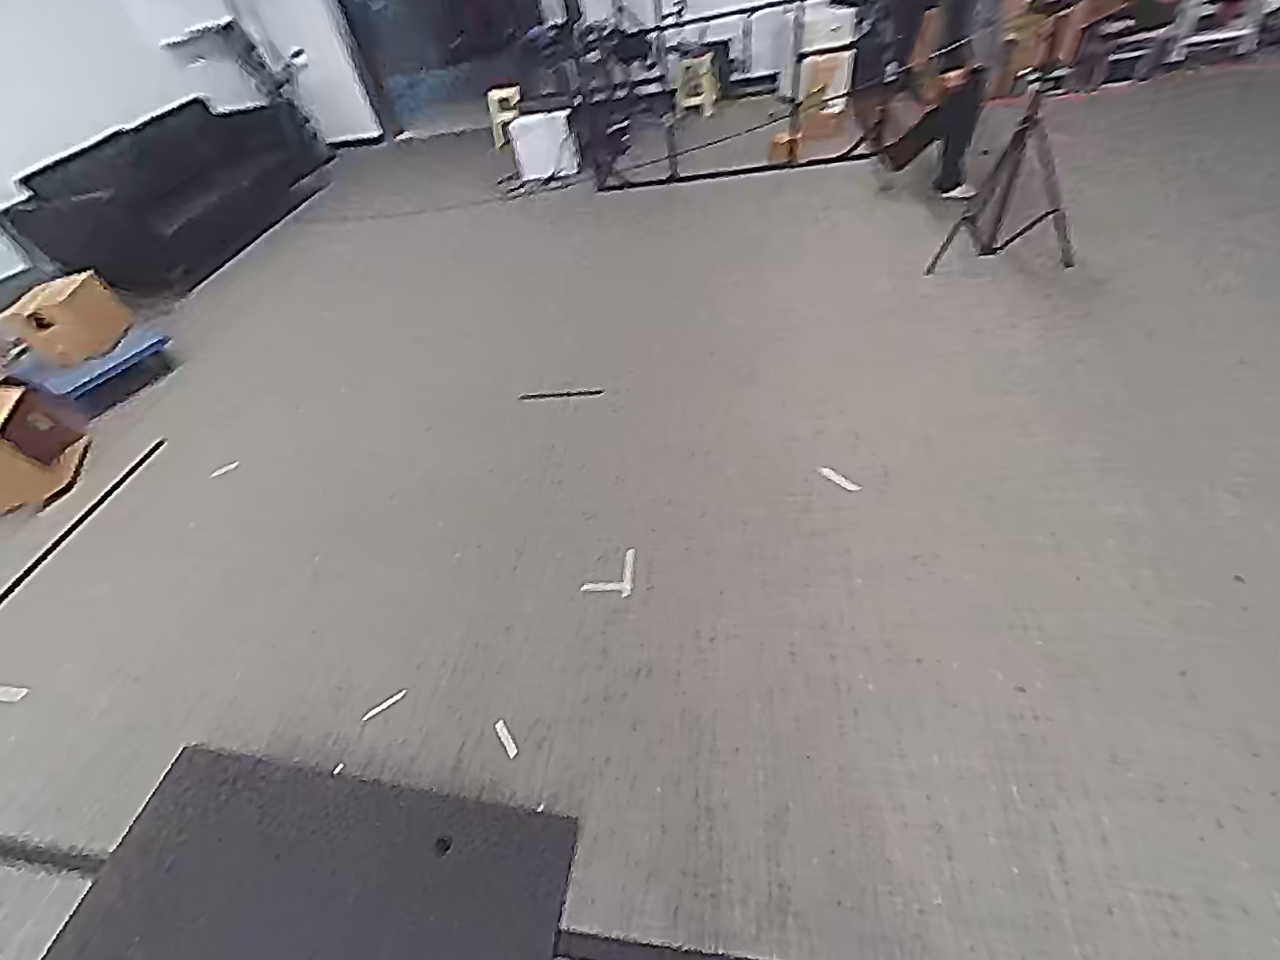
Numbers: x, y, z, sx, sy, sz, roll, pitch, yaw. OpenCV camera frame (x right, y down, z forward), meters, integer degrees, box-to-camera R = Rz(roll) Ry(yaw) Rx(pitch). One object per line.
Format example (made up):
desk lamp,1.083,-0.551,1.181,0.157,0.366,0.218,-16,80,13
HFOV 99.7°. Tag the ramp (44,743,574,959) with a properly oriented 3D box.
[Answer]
ramp,-0.679,0.907,1.164,0.991,0.206,0.509,0,47,11
